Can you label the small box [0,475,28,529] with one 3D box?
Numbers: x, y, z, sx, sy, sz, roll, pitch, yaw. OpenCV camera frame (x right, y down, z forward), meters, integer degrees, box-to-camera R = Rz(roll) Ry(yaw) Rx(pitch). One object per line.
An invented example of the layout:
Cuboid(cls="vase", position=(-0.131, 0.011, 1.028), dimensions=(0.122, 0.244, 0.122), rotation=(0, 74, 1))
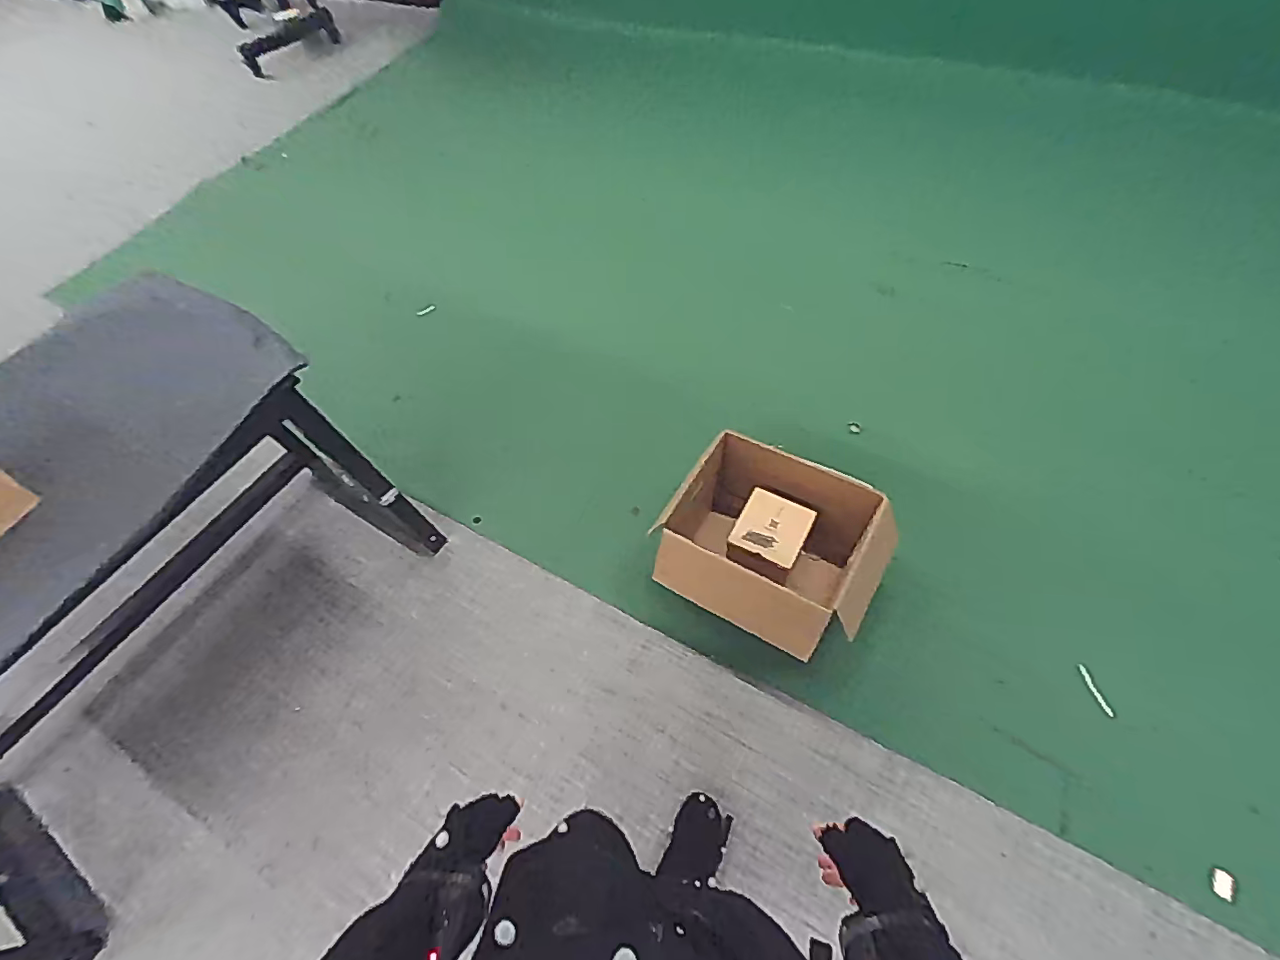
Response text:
Cuboid(cls="small box", position=(-1.115, 0.027, 0.816), dimensions=(0.179, 0.176, 0.168), rotation=(23, 65, 19))
